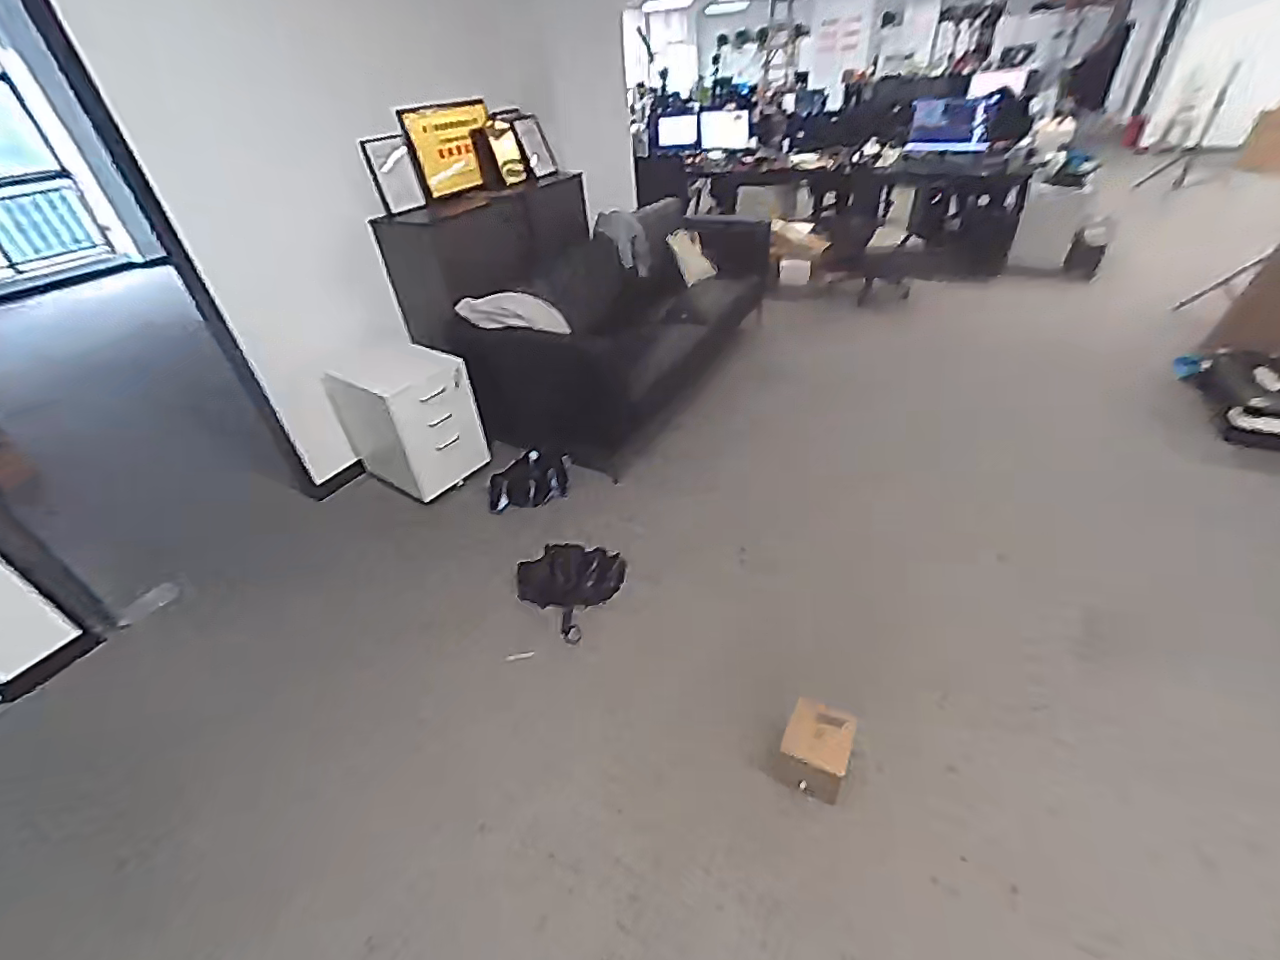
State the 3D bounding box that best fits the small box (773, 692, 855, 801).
[{"bbox_3d":[0.466,0.720,1.461,0.168,0.176,0.179,16,44,25],"label":"small box"}]
